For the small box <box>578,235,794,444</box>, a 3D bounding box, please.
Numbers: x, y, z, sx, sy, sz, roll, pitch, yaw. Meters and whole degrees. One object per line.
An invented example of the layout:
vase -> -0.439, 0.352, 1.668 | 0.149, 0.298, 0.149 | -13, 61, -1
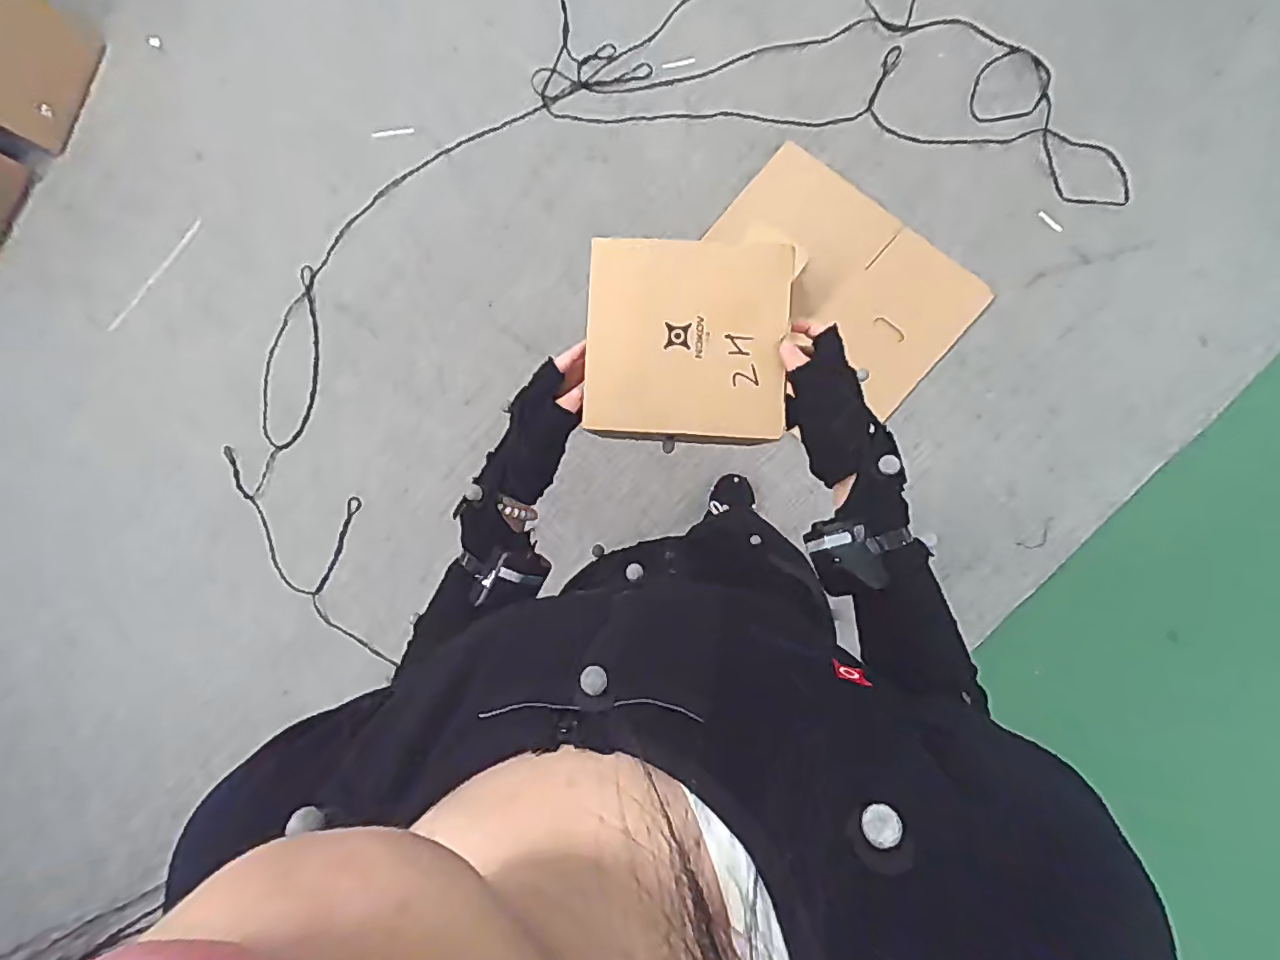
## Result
small box -> 0.043, -0.125, 0.539 | 0.179, 0.176, 0.168 | 3, 92, 2

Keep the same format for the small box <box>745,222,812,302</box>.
small box -> 0.312, -0.507, 1.386 | 0.168, 0.176, 0.179 | 37, 92, 9
